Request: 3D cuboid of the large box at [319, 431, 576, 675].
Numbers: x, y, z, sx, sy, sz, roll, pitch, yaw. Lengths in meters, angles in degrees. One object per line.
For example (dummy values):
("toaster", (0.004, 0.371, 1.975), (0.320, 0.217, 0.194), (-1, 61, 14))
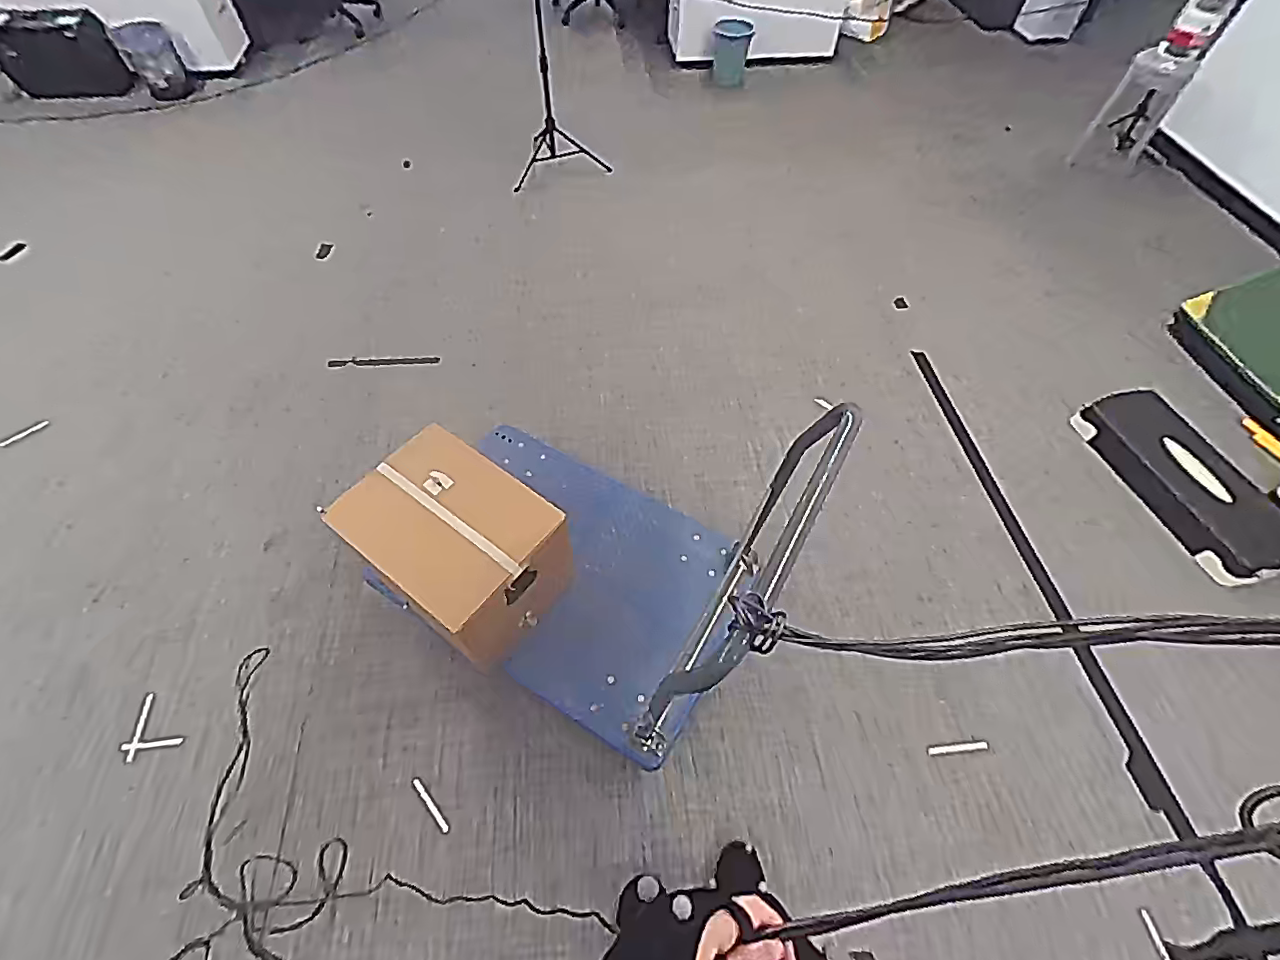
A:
("large box", (-0.403, 0.168, 1.221), (0.408, 0.320, 0.320), (32, 60, 18))
